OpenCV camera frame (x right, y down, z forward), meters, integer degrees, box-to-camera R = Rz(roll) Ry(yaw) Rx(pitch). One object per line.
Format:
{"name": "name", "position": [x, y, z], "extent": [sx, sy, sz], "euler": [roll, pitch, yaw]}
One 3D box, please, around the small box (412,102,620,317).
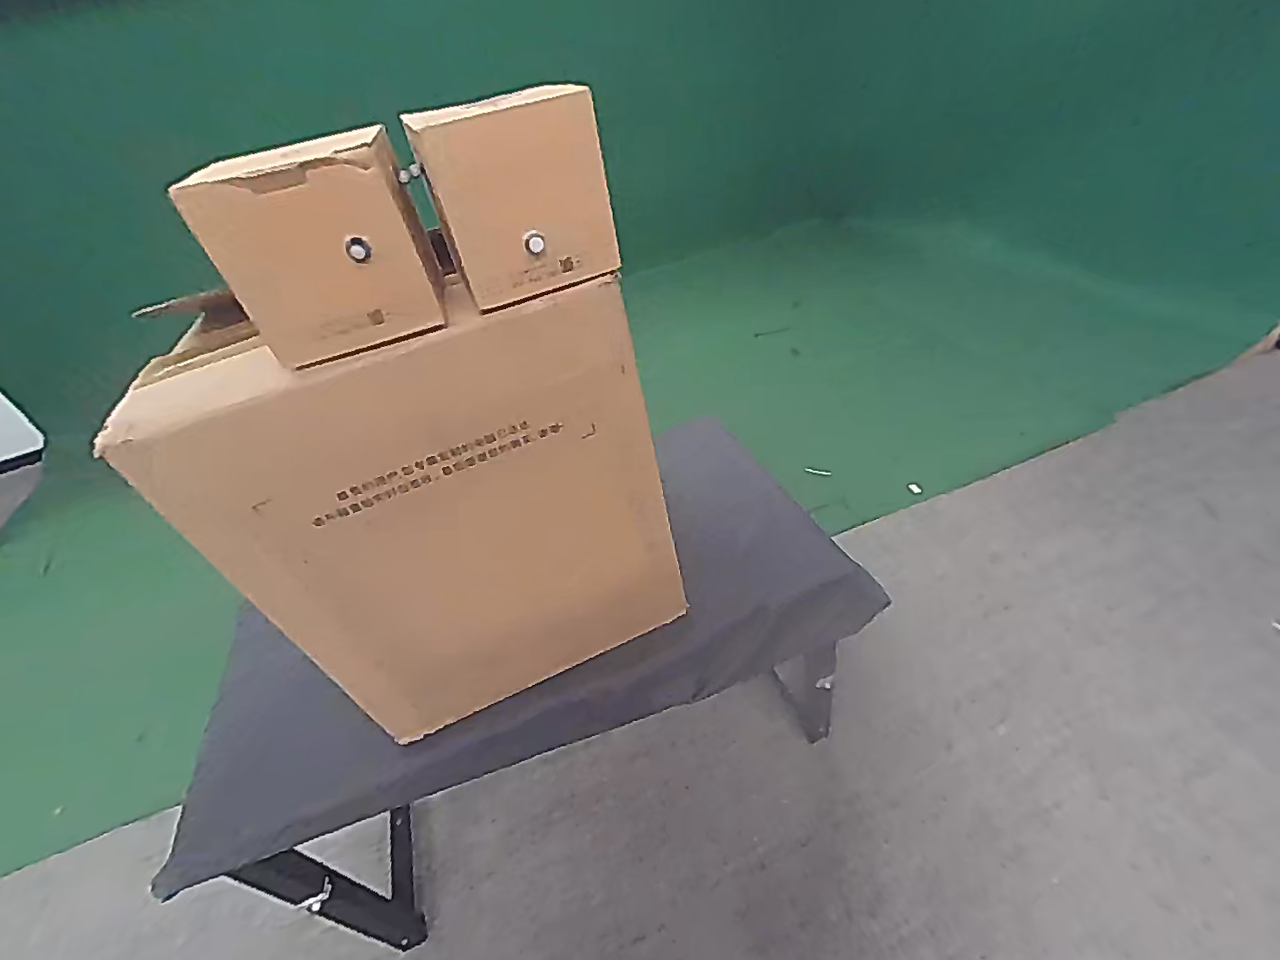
{"name": "small box", "position": [-0.135, -0.302, 0.601], "extent": [0.168, 0.176, 0.179], "euler": [-21, 41, -12]}
